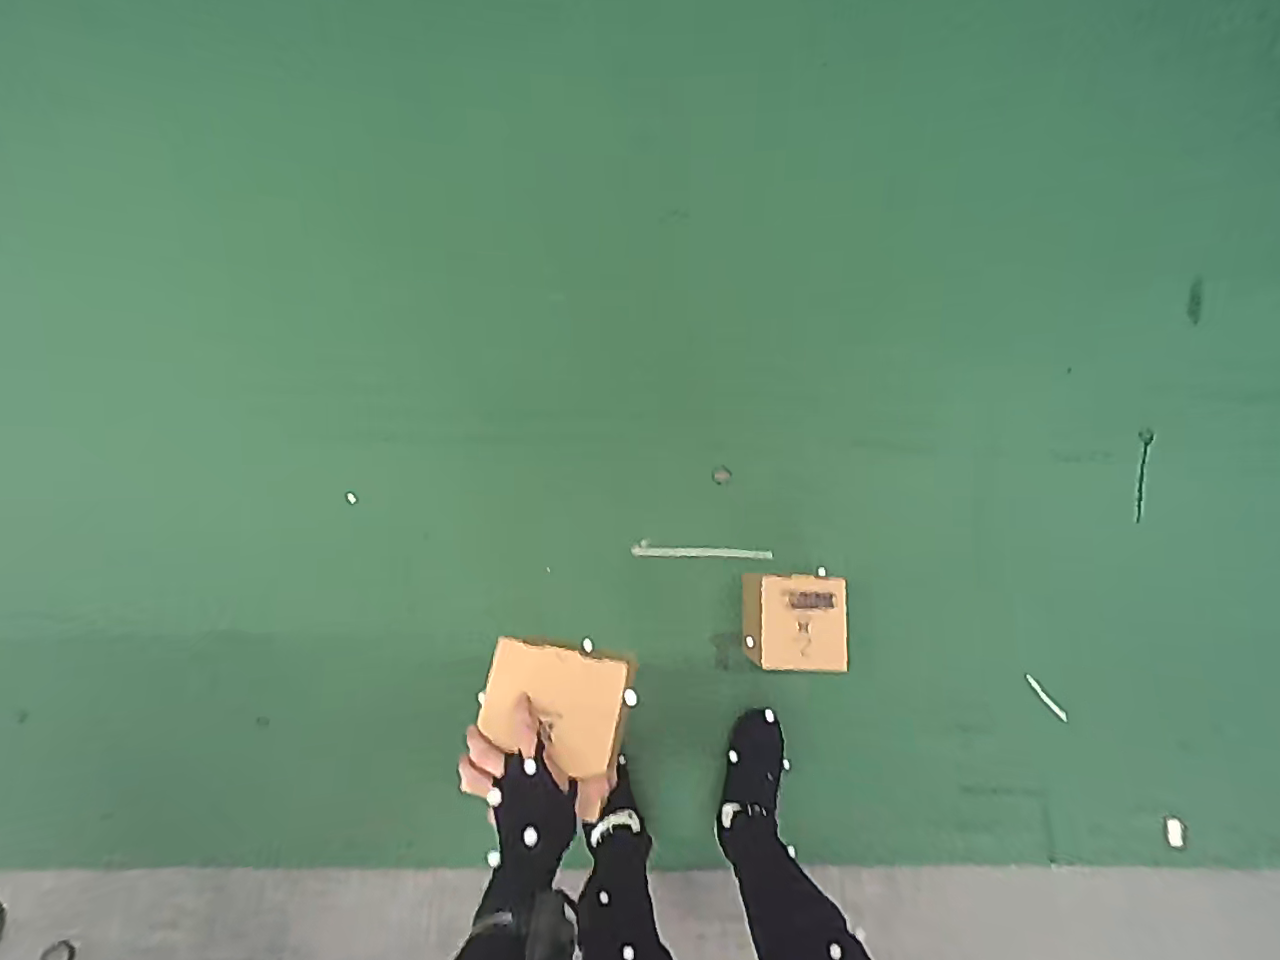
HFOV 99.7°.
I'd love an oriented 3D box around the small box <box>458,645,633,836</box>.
[{"bbox_3d":[-0.107,0.321,0.704,0.168,0.176,0.179,10,74,7],"label":"small box"}]
